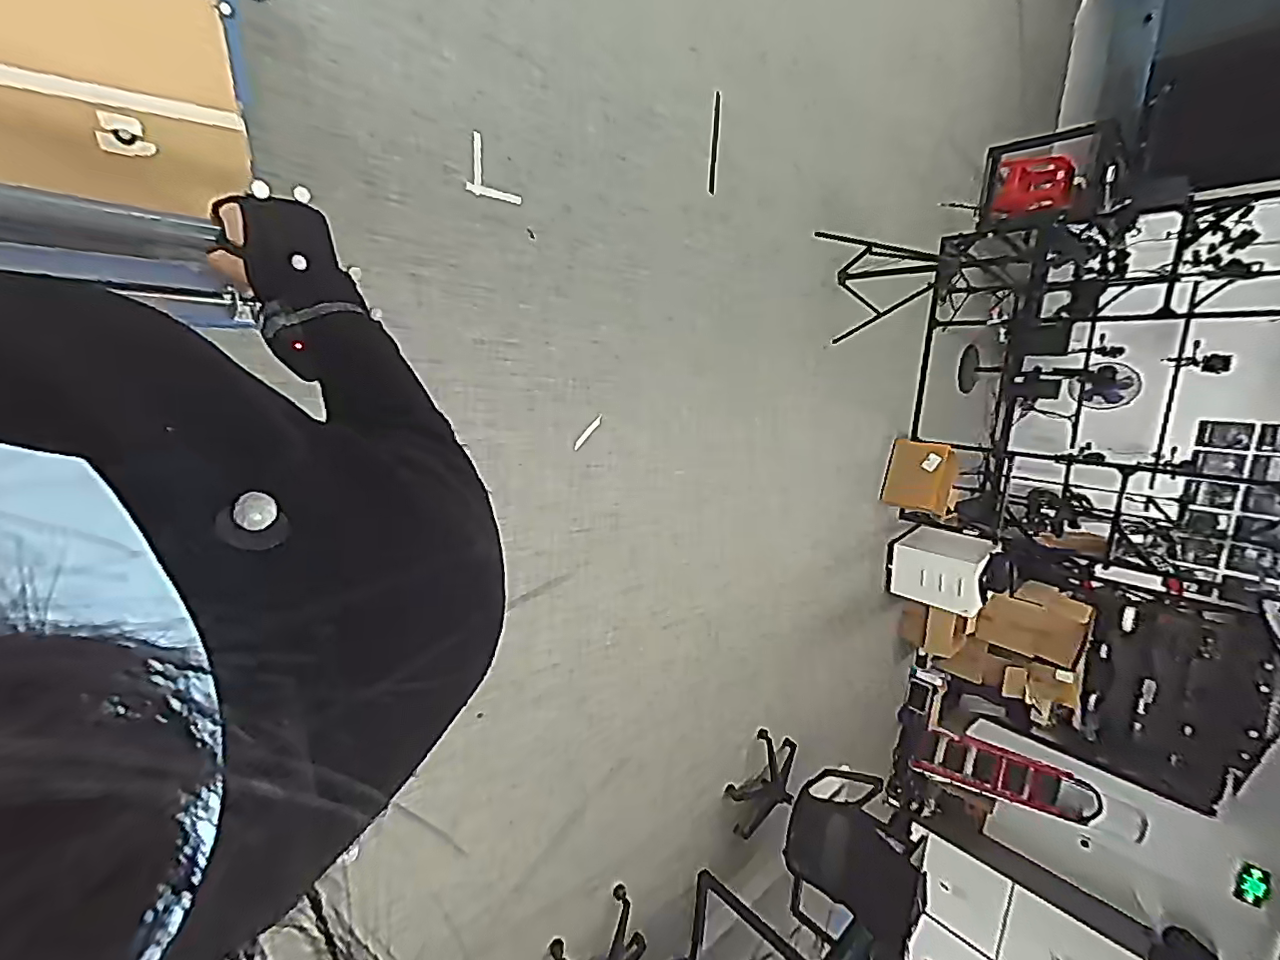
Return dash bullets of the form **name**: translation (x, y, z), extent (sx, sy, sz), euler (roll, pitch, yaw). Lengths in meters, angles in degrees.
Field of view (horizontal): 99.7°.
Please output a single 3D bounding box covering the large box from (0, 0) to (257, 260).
- **large box**: translation (-0.844, -0.507, 0.770), extent (0.408, 0.320, 0.320), euler (-15, 110, -43)
